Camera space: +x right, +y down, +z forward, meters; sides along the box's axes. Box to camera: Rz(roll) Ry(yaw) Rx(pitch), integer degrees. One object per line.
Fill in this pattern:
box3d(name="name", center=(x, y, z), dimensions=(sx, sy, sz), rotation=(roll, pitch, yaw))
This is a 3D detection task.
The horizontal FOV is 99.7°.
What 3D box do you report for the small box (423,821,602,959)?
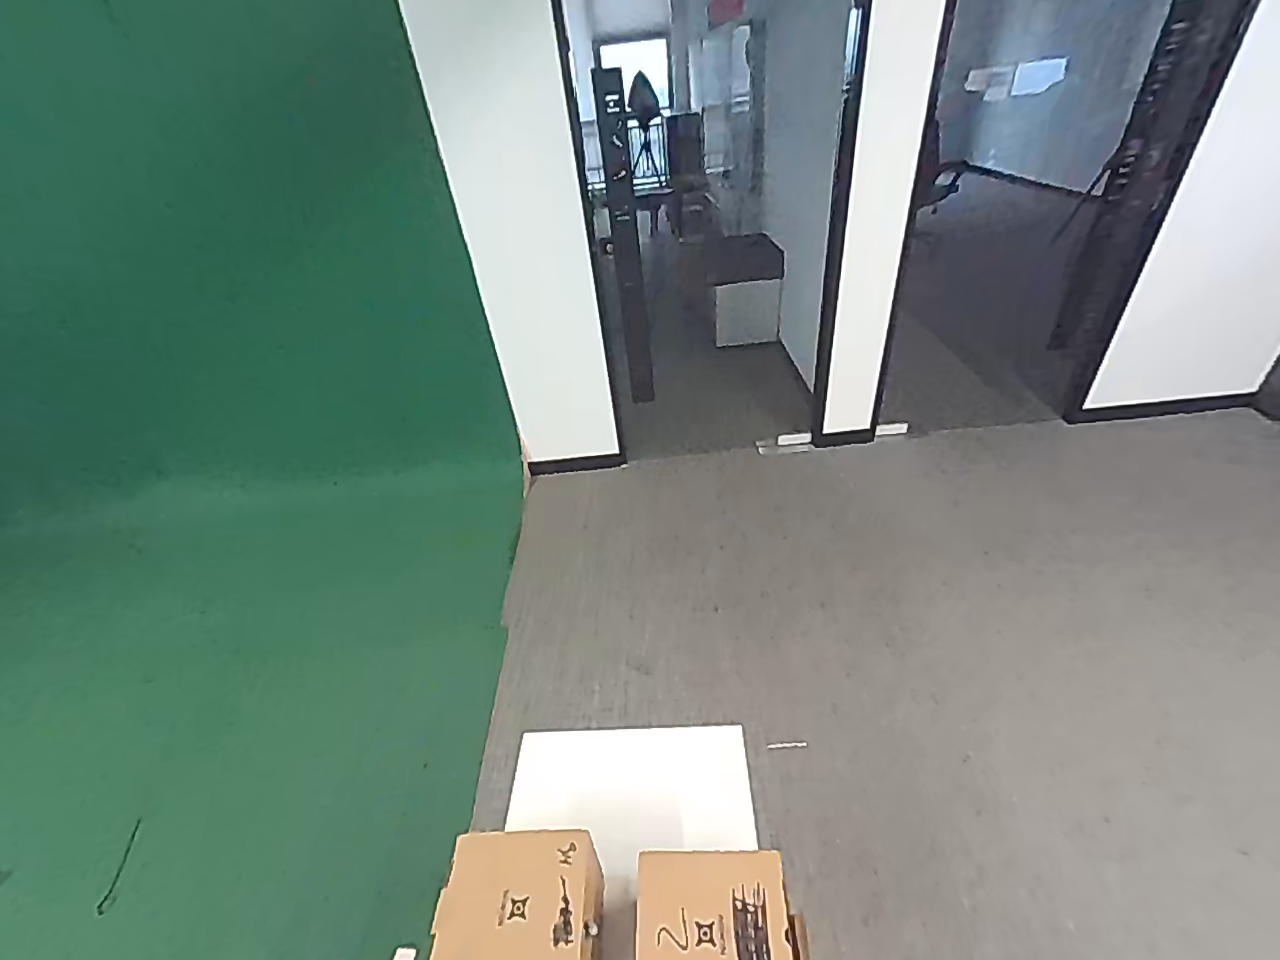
box3d(name="small box", center=(-0.150, 0.565, 0.693), dimensions=(0.179, 0.176, 0.168), rotation=(-4, 36, 3))
